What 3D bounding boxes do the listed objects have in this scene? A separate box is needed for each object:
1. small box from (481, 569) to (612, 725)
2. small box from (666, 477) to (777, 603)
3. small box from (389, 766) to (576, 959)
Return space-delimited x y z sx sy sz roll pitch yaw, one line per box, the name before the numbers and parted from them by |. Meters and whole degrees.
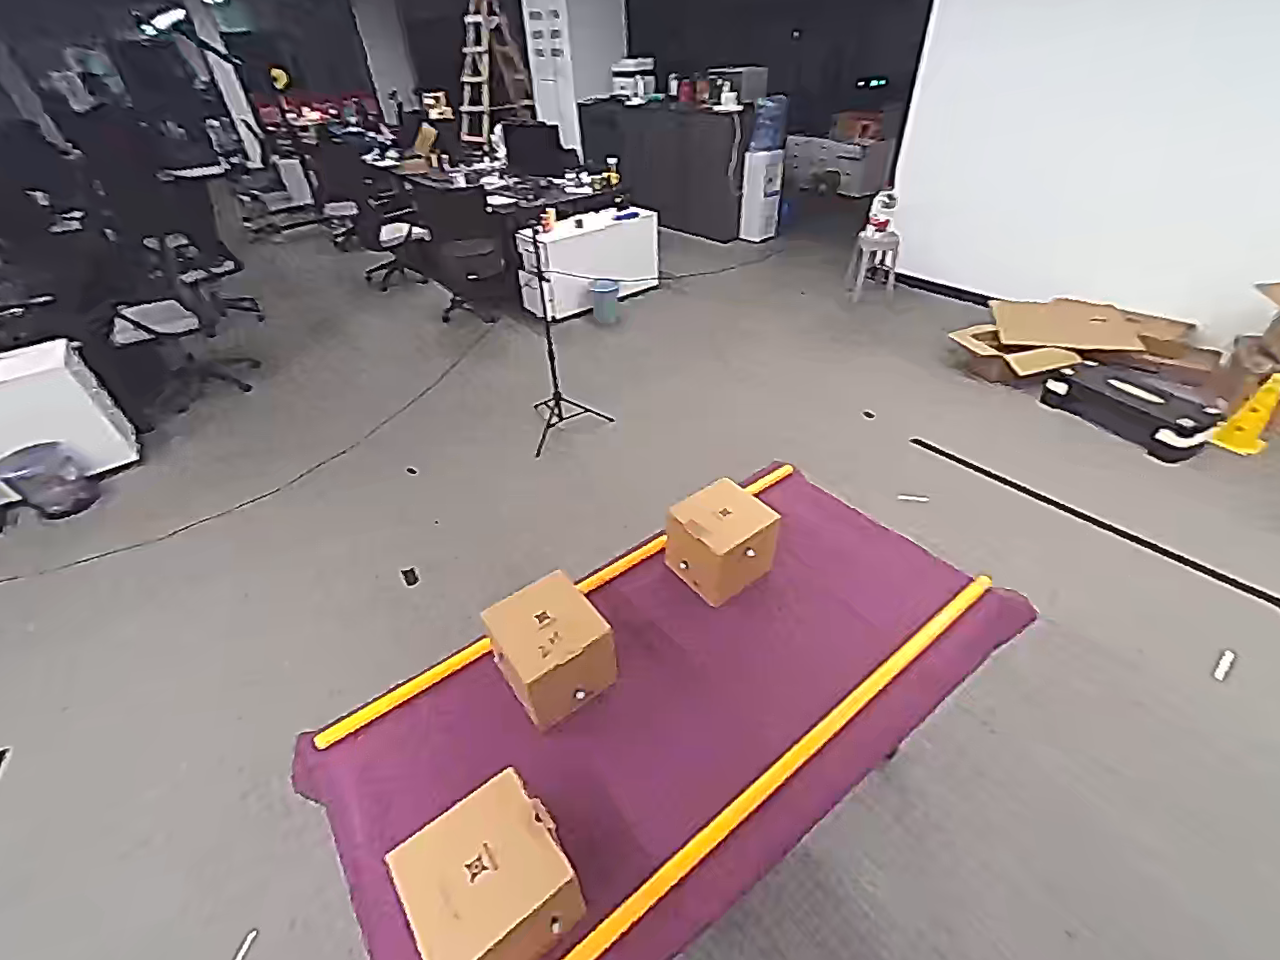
small box | -0.166 0.303 0.985 0.168 0.176 0.179 -28 47 -26
small box | 0.170 0.130 1.176 0.179 0.176 0.168 -28 46 -26
small box | -0.196 0.529 0.709 0.179 0.176 0.168 -26 44 -29
